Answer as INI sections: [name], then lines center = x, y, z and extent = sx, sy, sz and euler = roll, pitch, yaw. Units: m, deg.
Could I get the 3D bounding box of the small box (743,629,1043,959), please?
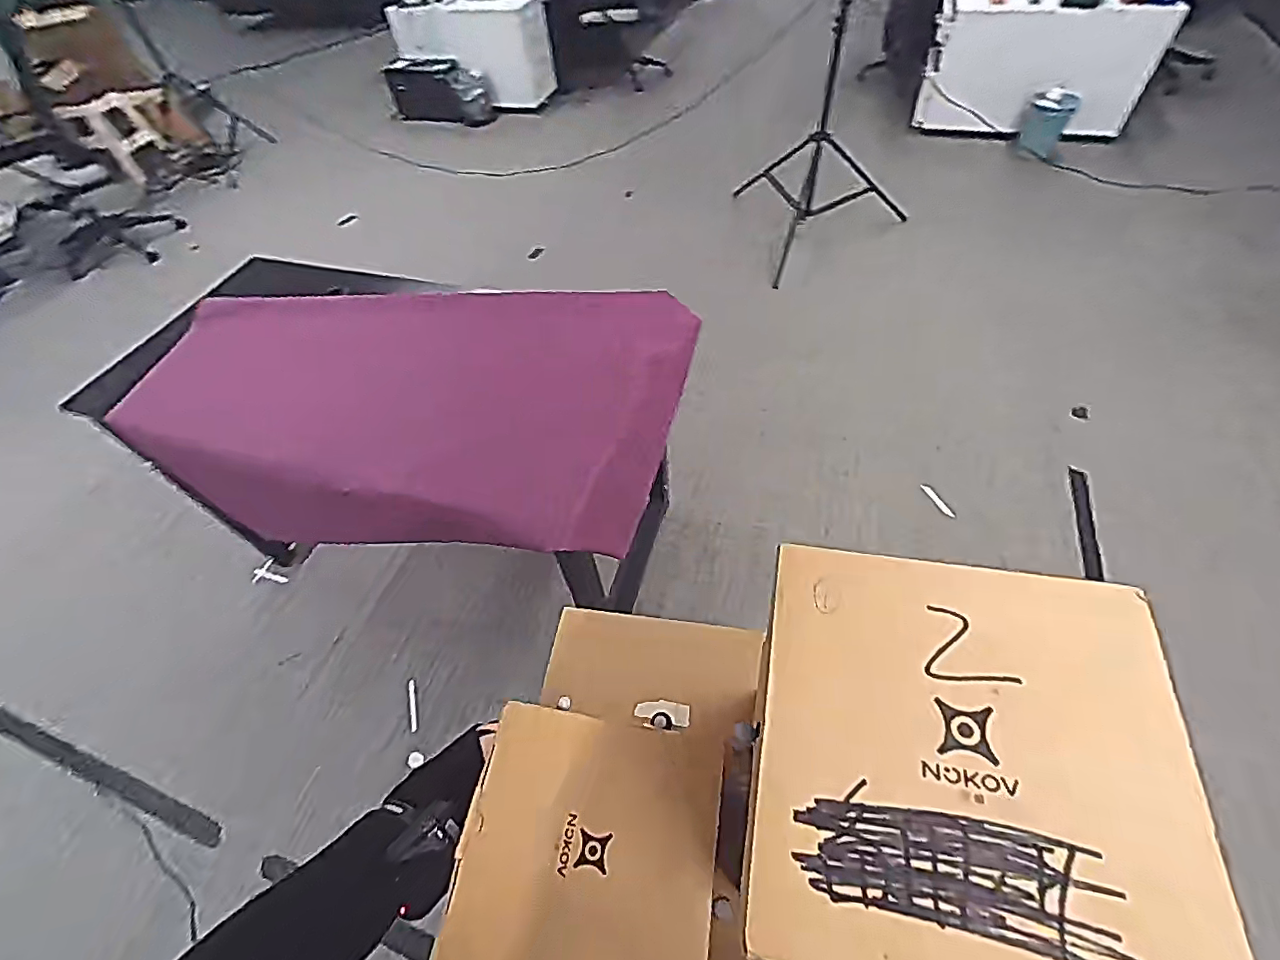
[small box]
center = 0.171, 0.238, 0.424
extent = 0.168, 0.176, 0.179
euler = 4, 58, 14

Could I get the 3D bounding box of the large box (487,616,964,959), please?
[large box]
center = 0.100, 0.374, 0.644
extent = 0.408, 0.320, 0.320
euler = 2, 56, 12
